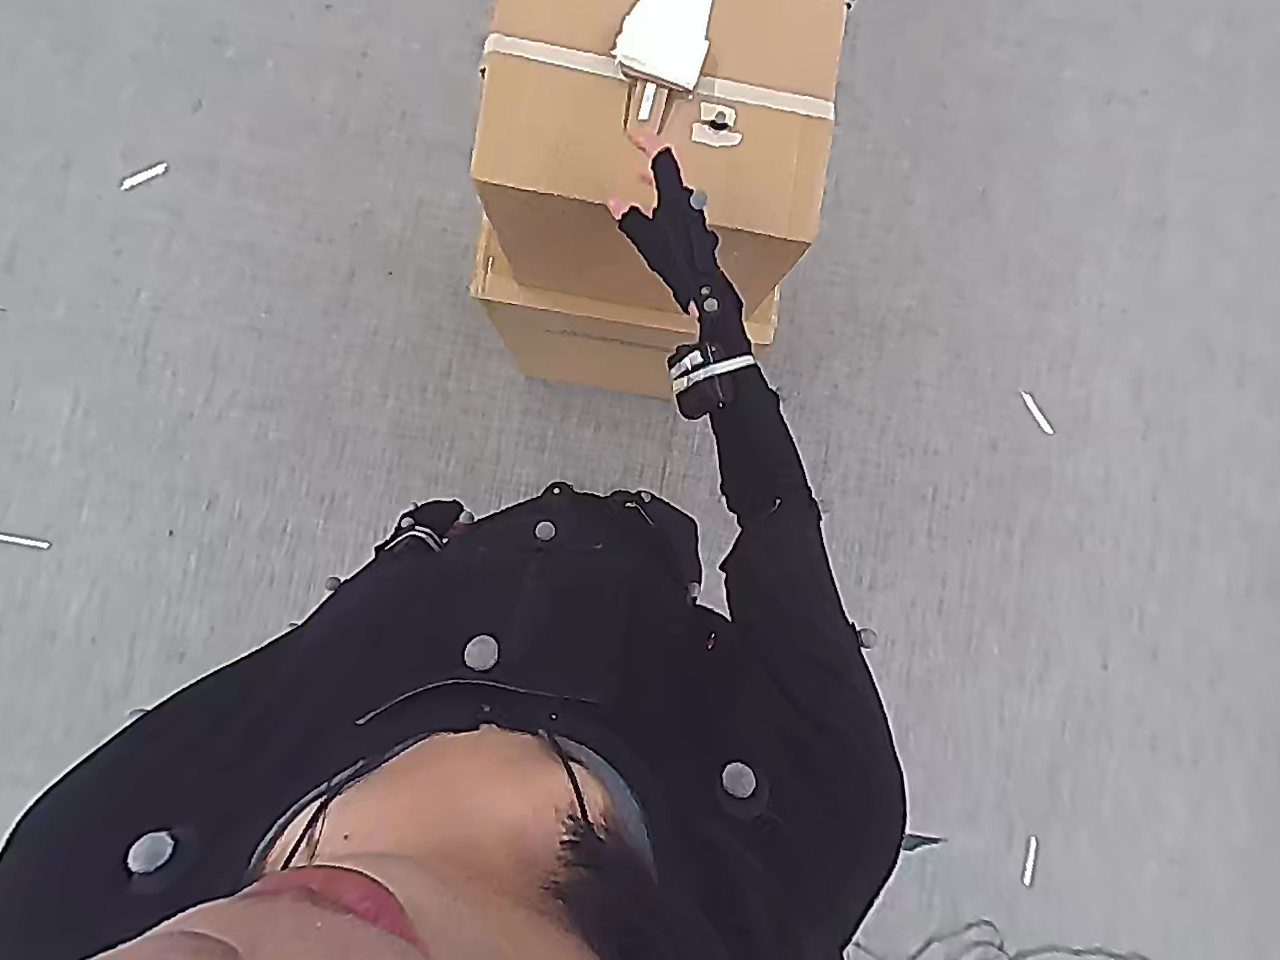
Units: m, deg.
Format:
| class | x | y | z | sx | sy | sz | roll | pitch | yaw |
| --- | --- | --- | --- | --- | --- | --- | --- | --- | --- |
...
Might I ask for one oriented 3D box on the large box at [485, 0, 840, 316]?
| class | x | y | z | sx | sy | sz | roll | pitch | yaw |
| --- | --- | --- | --- | --- | --- | --- | --- | --- | --- |
| large box | 0.019 | -0.465 | 0.792 | 0.408 | 0.320 | 0.320 | 9 | 88 | -5 |
